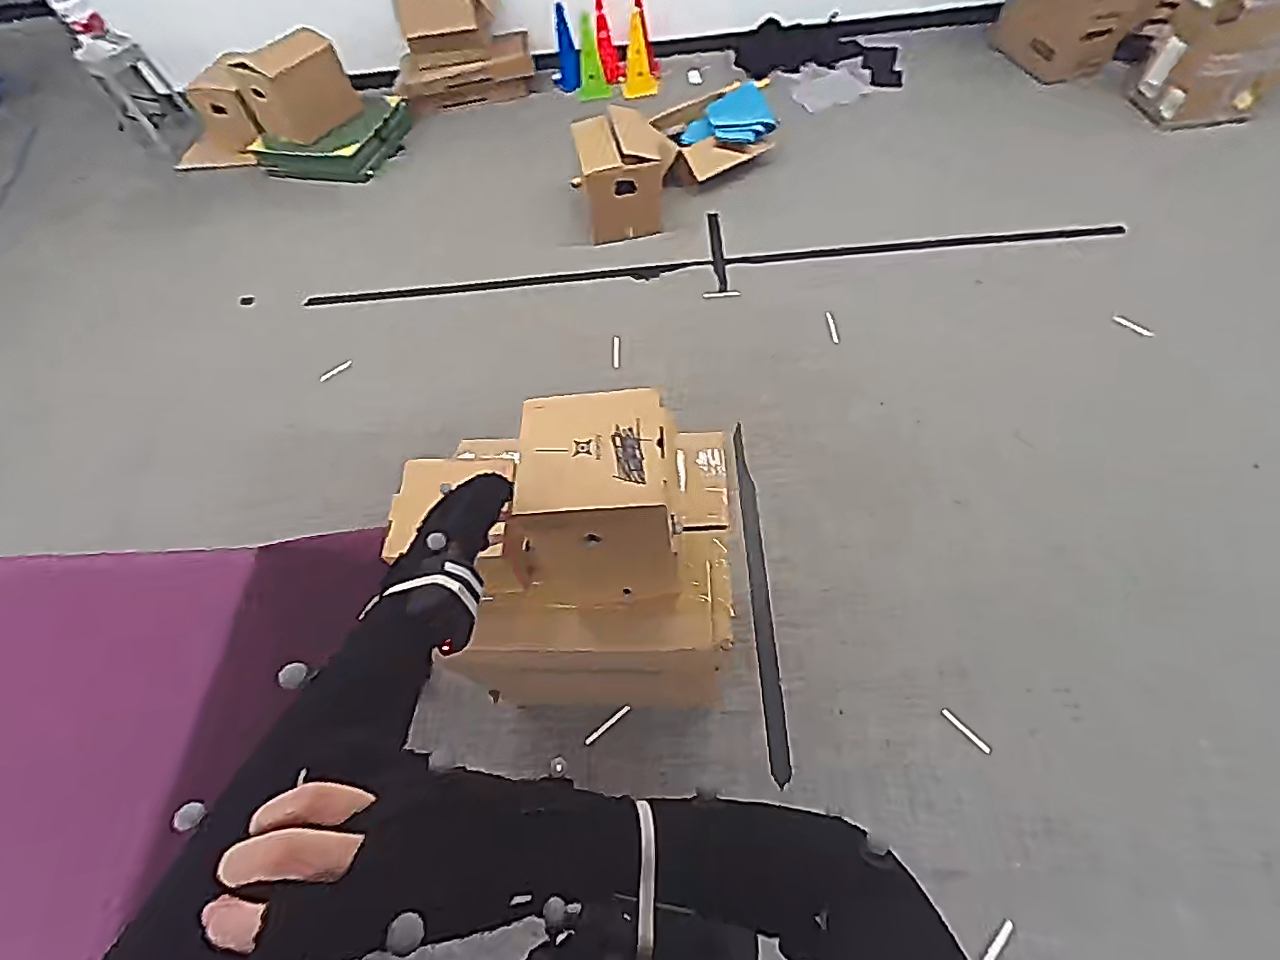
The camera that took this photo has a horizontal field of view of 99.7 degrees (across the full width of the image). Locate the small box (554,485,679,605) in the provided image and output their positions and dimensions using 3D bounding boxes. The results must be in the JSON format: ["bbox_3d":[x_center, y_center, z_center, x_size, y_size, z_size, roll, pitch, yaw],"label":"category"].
[{"bbox_3d":[-0.035,0.087,0.853,0.179,0.176,0.168,-8,59,1],"label":"small box"}]

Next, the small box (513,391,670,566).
[{"bbox_3d":[-0.051,0.005,0.710,0.179,0.176,0.168,-4,59,5],"label":"small box"}]
